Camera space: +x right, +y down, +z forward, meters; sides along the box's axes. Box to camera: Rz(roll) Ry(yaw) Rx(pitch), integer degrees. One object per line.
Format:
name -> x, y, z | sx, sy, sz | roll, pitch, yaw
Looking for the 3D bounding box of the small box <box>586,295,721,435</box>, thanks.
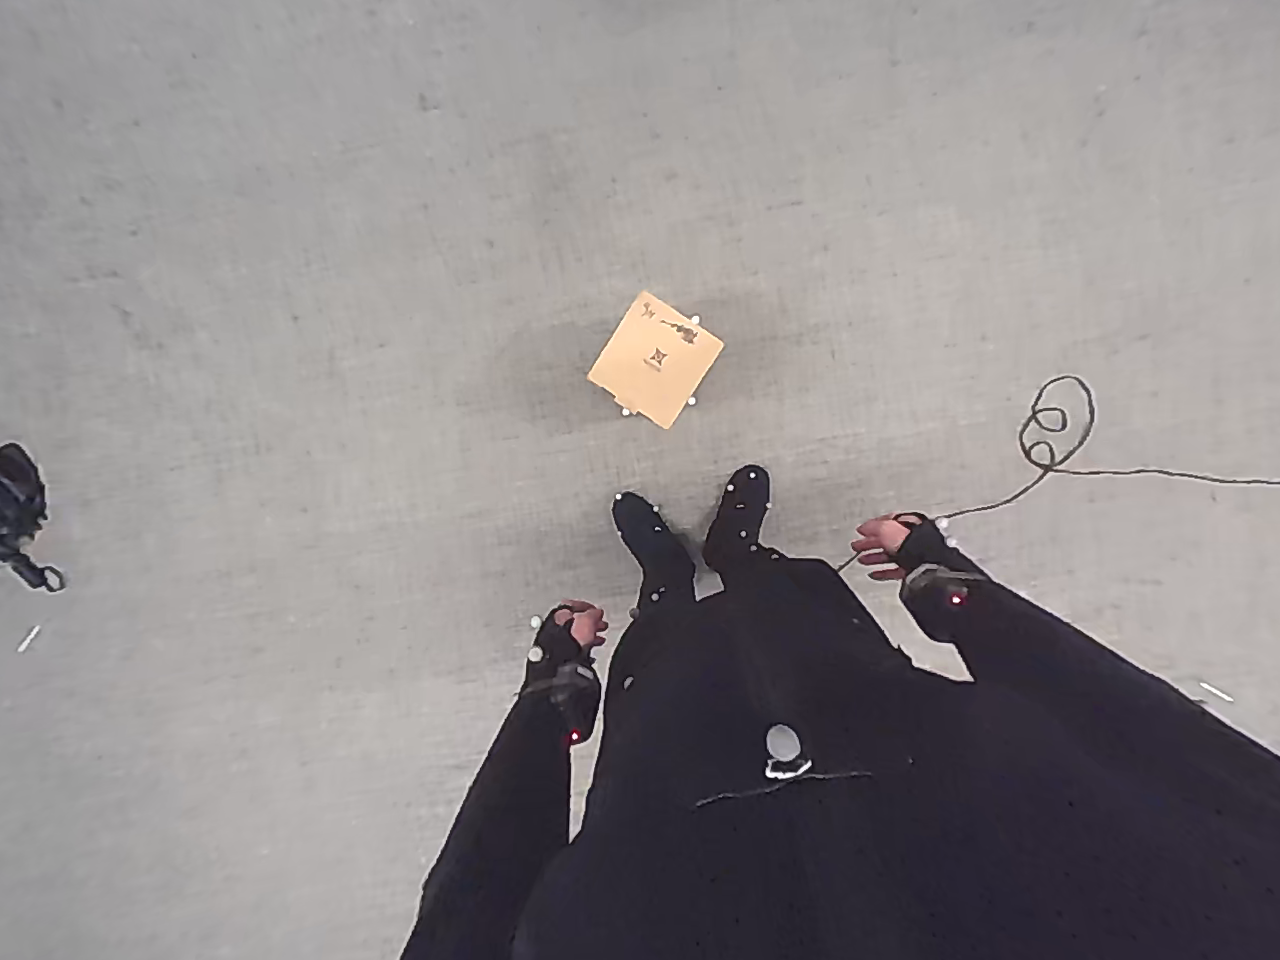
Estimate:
small box -> 0.027, -0.198, 0.979 | 0.168, 0.176, 0.179 | 34, 96, -1
